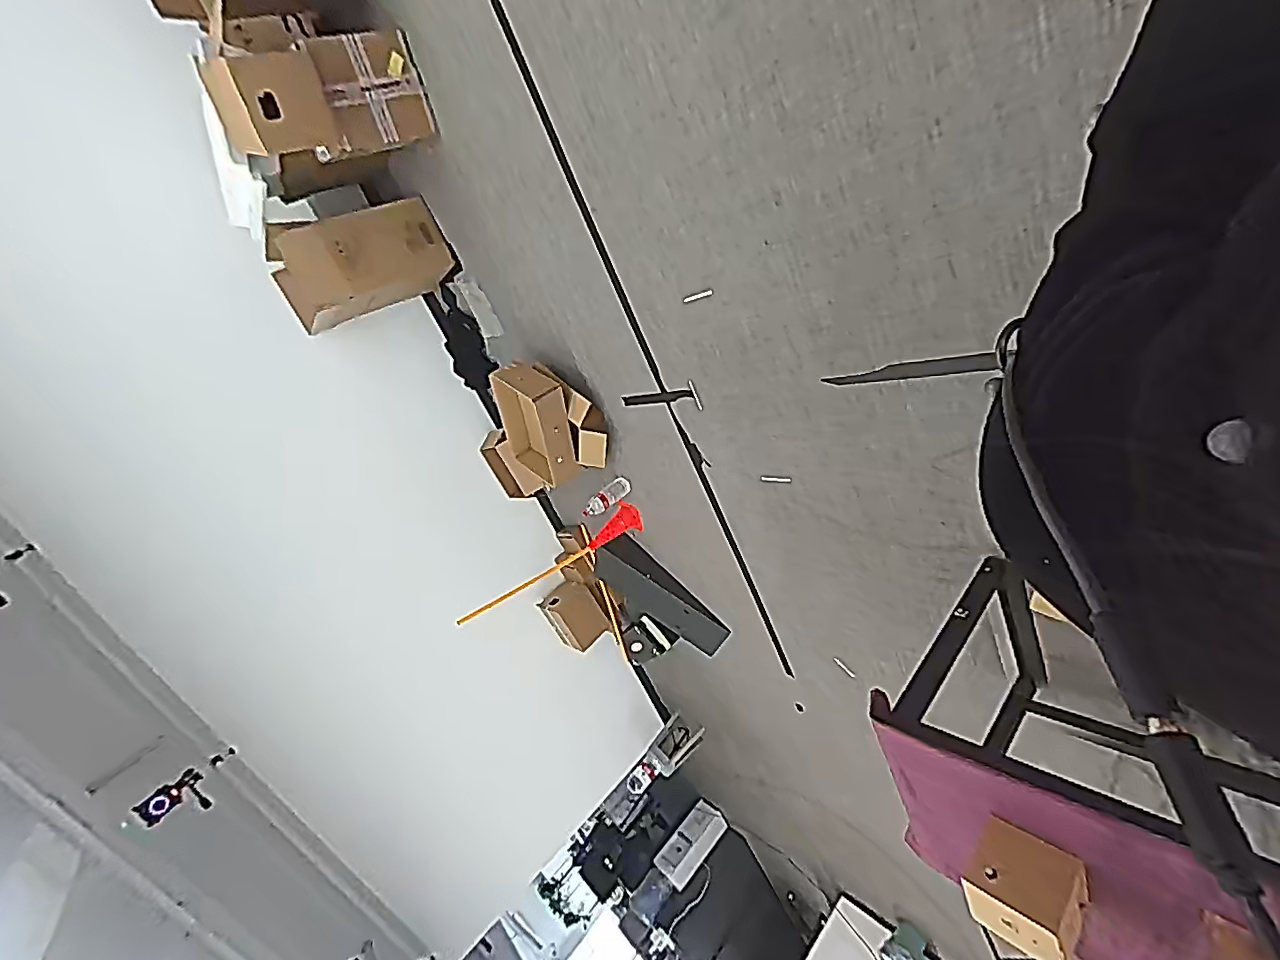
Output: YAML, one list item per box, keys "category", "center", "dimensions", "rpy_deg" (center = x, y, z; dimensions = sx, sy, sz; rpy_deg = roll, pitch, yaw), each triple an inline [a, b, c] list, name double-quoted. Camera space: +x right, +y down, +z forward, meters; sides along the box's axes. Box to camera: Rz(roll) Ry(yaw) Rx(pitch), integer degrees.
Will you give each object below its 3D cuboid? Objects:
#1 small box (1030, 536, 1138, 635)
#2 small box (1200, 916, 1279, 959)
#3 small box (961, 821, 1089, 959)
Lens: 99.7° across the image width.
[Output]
- category: "small box"
  center: [1.206, 0.278, 1.471]
  dimensions: [0.179, 0.176, 0.168]
  rpy_deg: [21, 138, 41]
- category: "small box"
  center: [1.026, 0.872, 0.876]
  dimensions: [0.168, 0.176, 0.179]
  rpy_deg: [7, 130, 54]
- category: "small box"
  center: [0.829, 0.881, 1.164]
  dimensions: [0.179, 0.176, 0.168]
  rpy_deg: [6, 128, 52]
